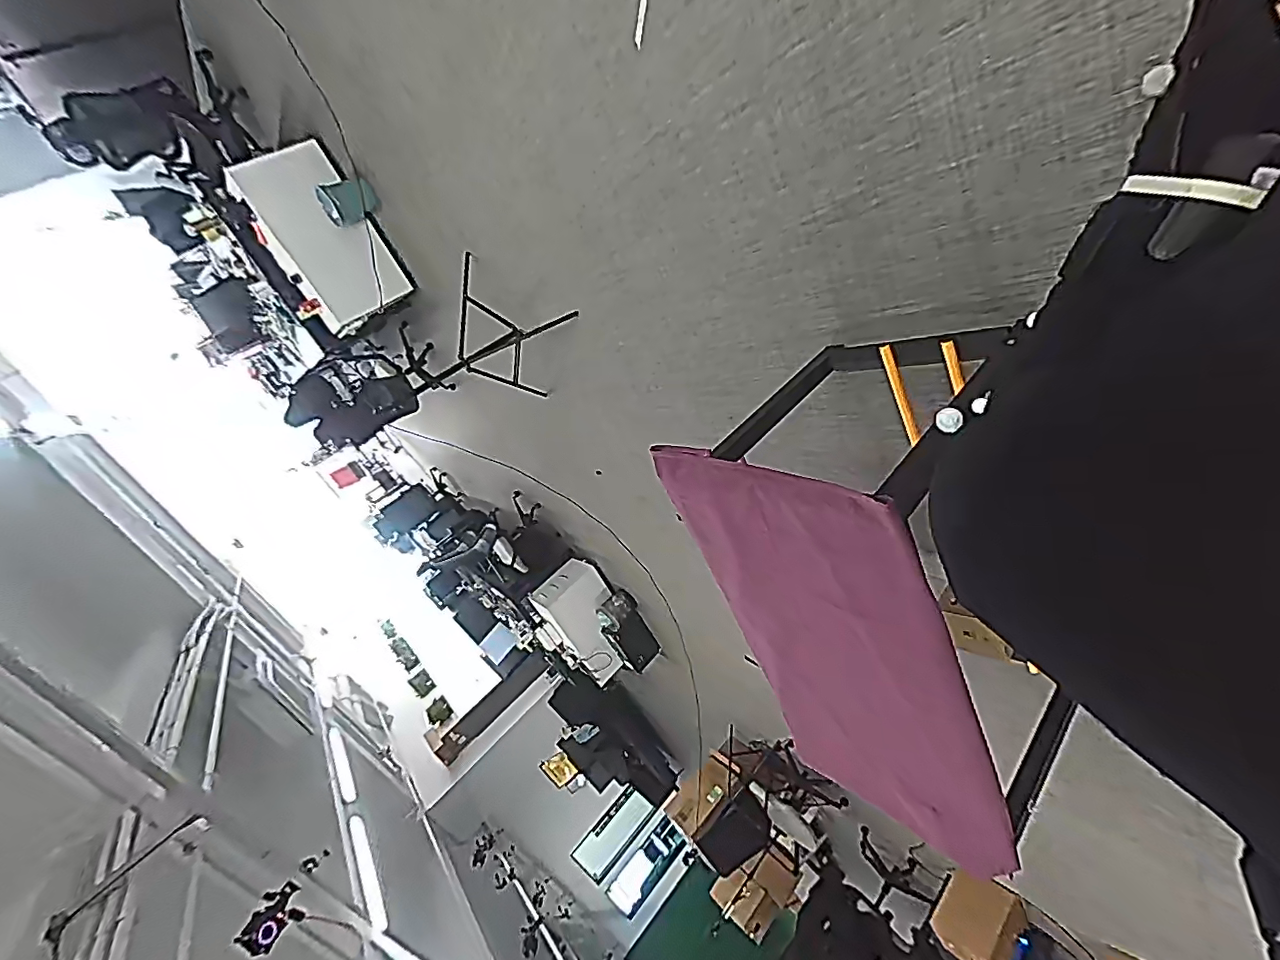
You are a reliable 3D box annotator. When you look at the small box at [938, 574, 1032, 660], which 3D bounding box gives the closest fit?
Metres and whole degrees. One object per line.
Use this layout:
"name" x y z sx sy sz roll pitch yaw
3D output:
"small box" 1.041 0.404 1.629 0.179 0.176 0.168 2 128 55
